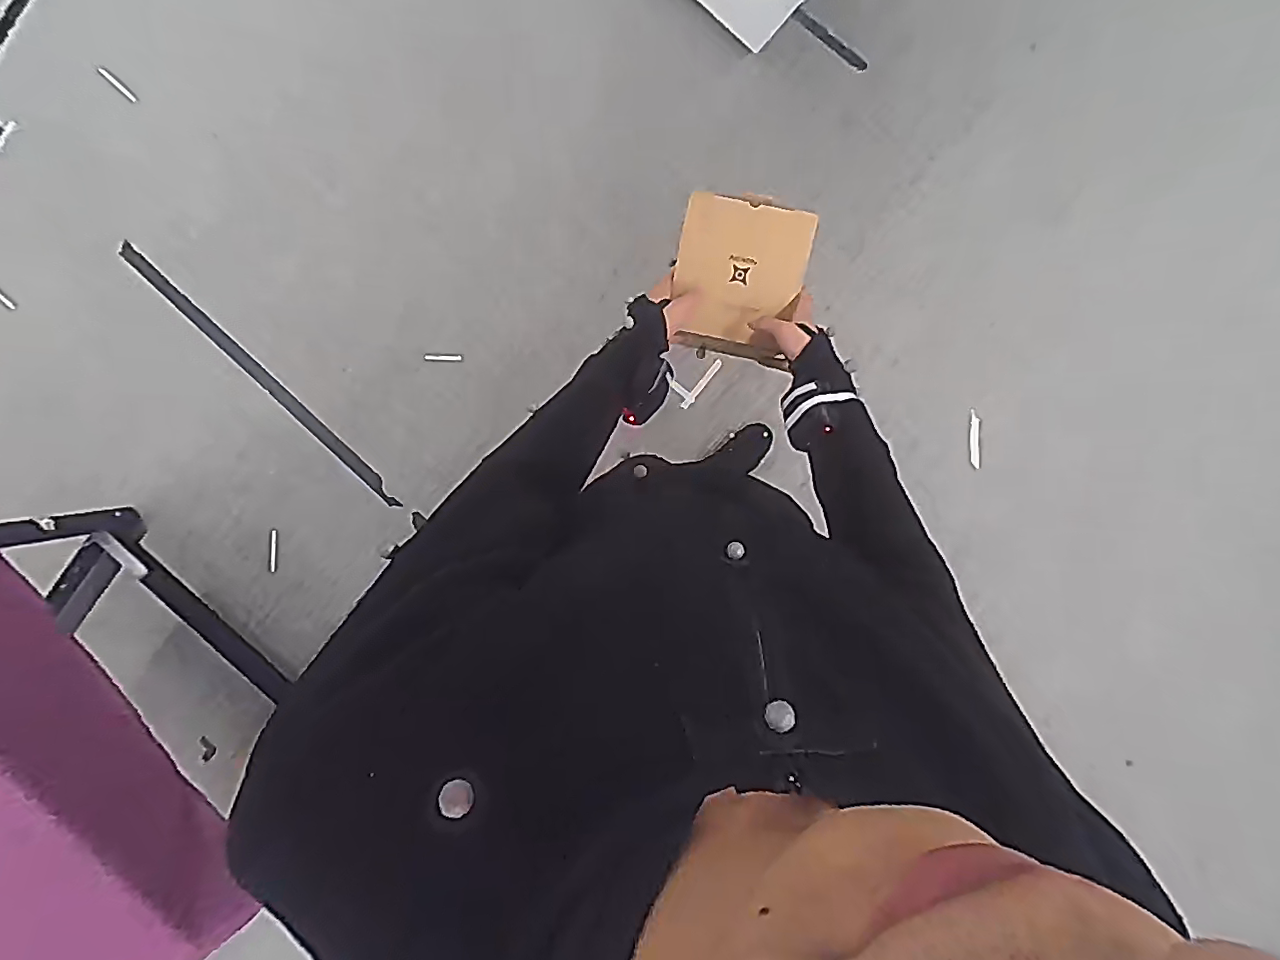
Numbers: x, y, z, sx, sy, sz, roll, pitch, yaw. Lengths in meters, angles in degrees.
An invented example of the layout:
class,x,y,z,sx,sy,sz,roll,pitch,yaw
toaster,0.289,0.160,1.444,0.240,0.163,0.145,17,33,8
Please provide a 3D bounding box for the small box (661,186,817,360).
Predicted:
class,x,y,z,sx,sy,sz,roll,pitch,yaw
small box,0.126,-0.277,0.763,0.168,0.176,0.179,12,98,-1
